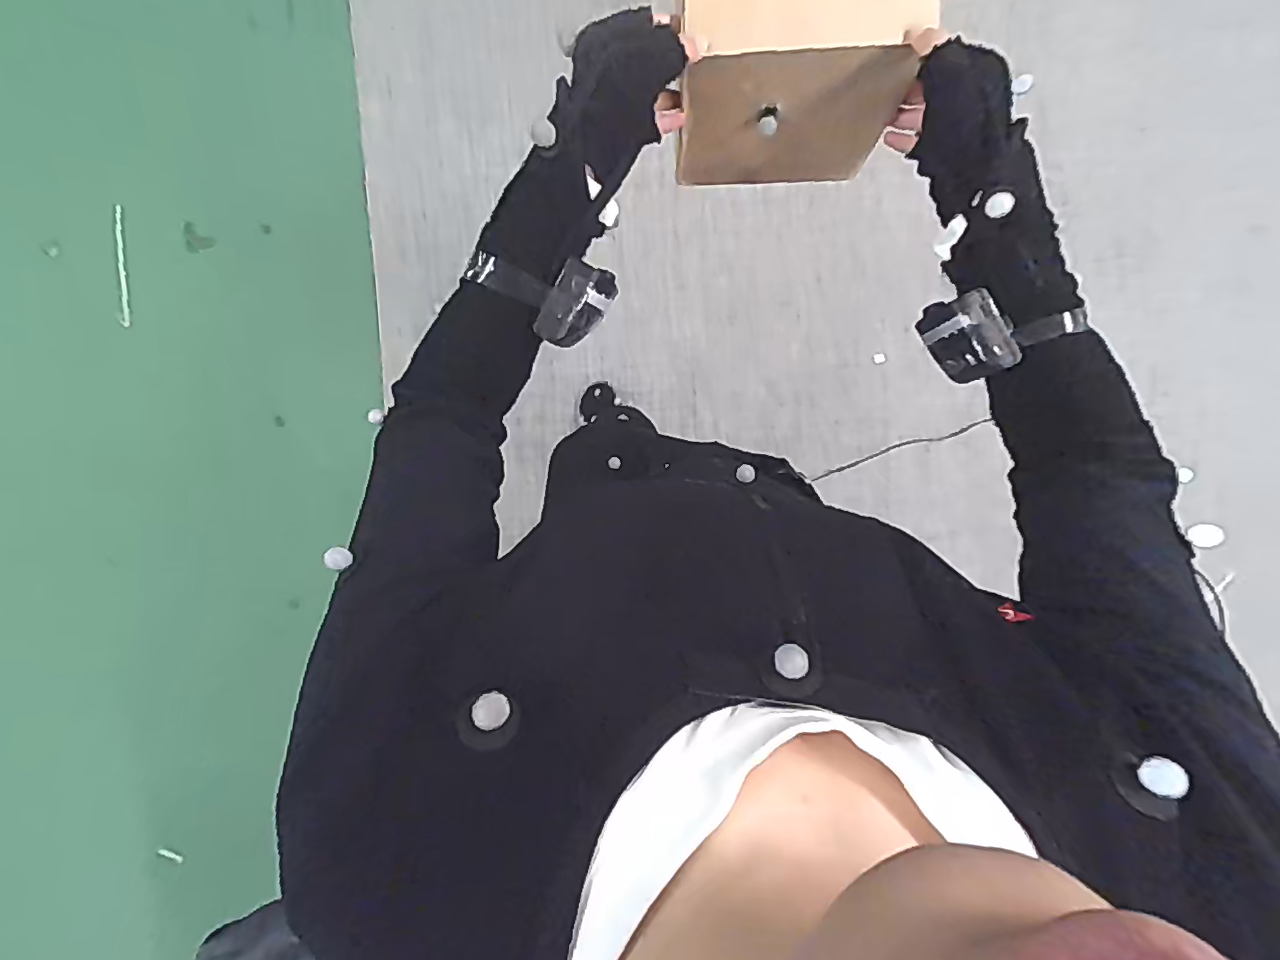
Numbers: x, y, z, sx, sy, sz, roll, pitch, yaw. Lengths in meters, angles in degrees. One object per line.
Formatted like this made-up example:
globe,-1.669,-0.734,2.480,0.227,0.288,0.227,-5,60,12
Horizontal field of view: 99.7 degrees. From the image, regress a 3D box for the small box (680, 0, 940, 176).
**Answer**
small box,0.122,-0.381,0.453,0.179,0.176,0.168,0,90,2
